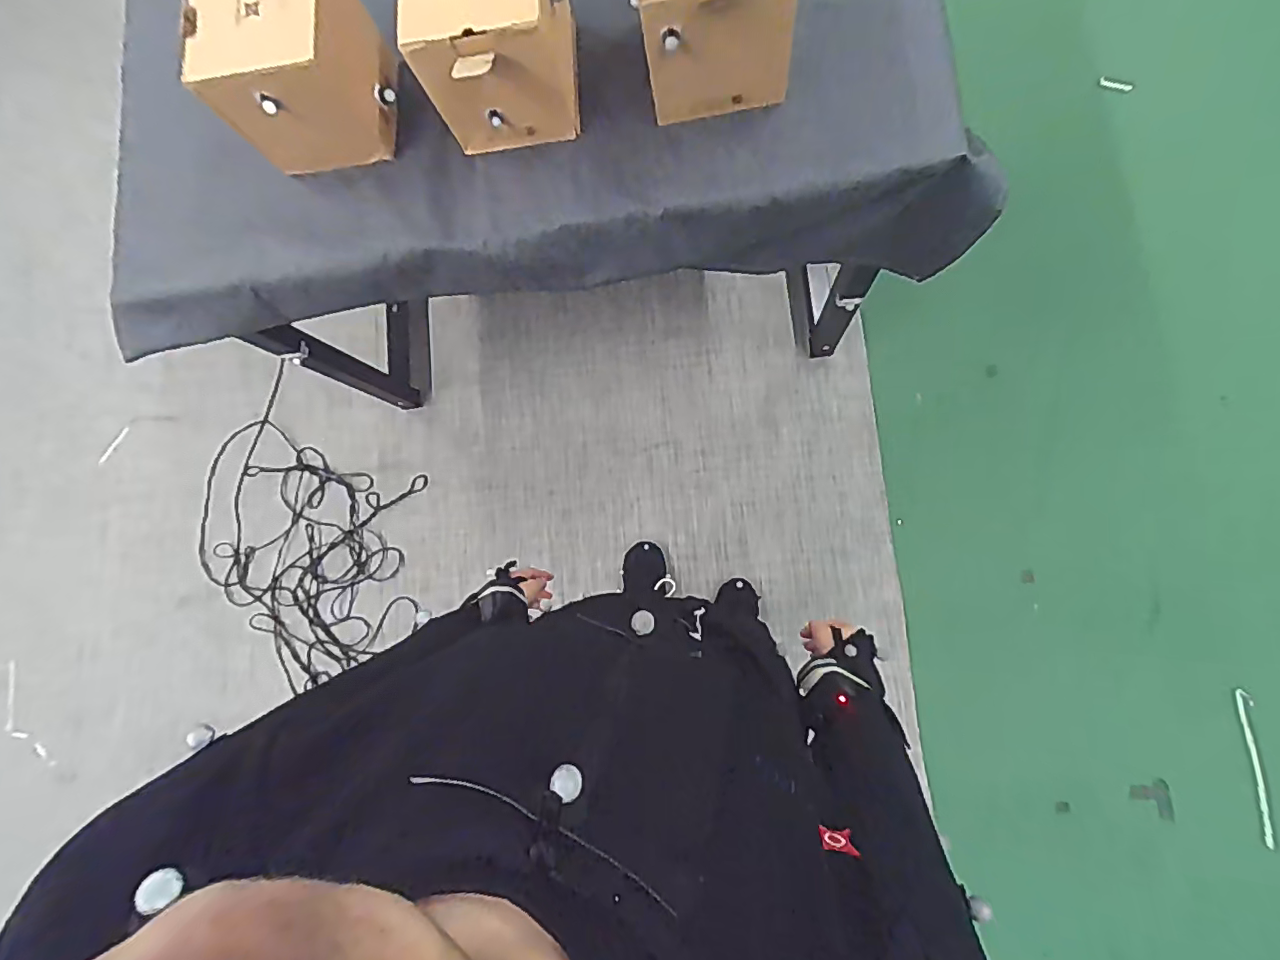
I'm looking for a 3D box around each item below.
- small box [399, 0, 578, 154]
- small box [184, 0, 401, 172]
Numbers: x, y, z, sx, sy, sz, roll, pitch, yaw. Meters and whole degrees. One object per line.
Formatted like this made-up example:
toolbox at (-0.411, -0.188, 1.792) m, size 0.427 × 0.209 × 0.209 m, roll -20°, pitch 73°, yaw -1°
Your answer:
small box at (-0.178, -0.554, 0.679) m, size 0.168 × 0.176 × 0.179 m, roll -4°, pitch 82°, yaw 8°
small box at (-0.445, -0.538, 0.715) m, size 0.179 × 0.176 × 0.168 m, roll -3°, pitch 83°, yaw 7°
